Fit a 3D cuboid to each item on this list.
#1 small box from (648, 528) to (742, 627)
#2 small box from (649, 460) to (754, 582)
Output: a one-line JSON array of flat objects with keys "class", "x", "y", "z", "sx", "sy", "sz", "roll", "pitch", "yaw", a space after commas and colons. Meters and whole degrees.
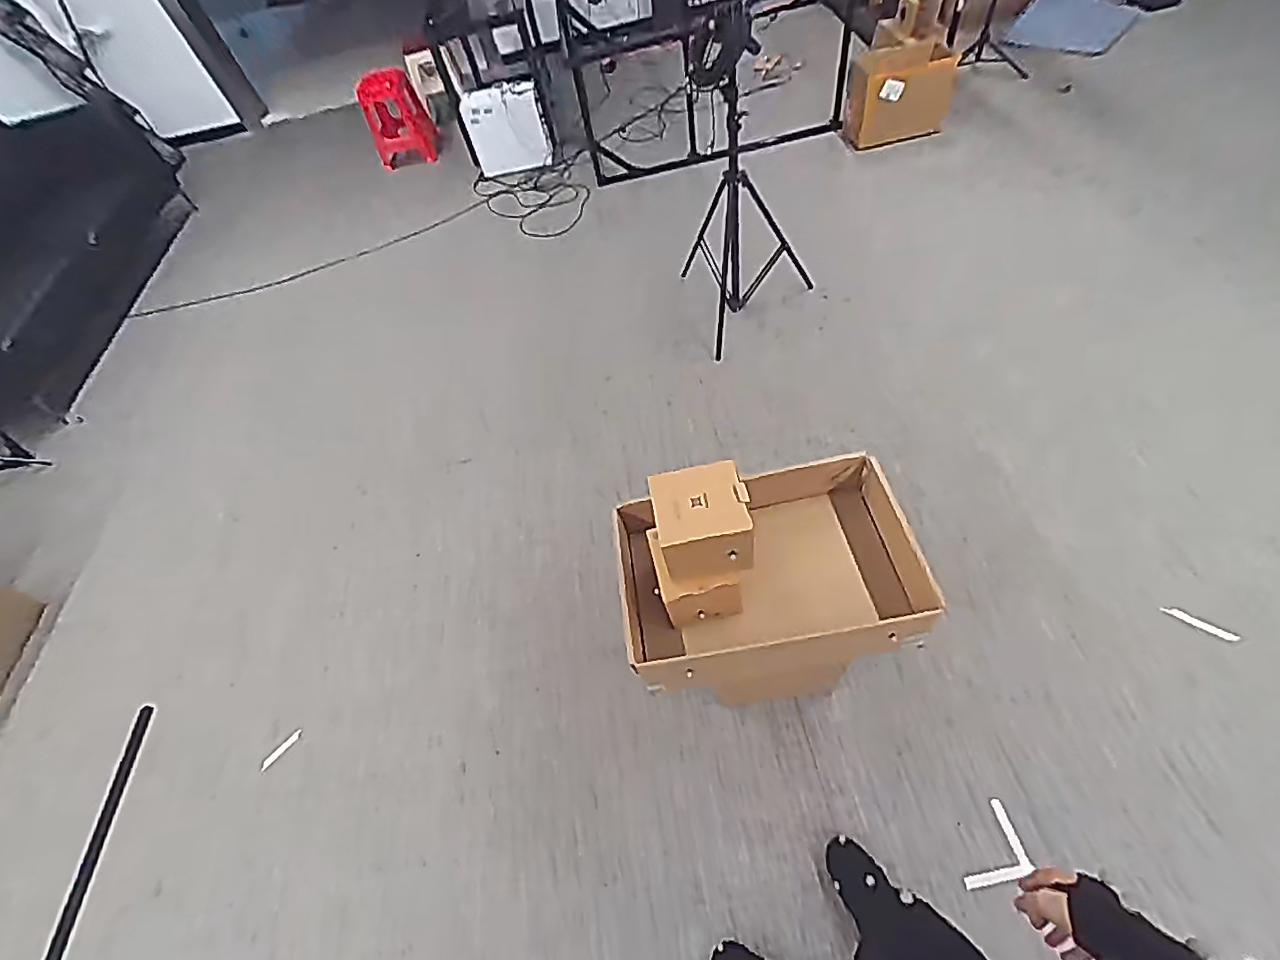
[{"class": "small box", "x": 0.123, "y": 0.203, "z": 1.206, "sx": 0.168, "sy": 0.176, "sz": 0.179, "roll": -16, "pitch": 54, "yaw": 1}, {"class": "small box", "x": 0.123, "y": 0.086, "z": 1.084, "sx": 0.179, "sy": 0.176, "sz": 0.168, "roll": -12, "pitch": 53, "yaw": 3}]
